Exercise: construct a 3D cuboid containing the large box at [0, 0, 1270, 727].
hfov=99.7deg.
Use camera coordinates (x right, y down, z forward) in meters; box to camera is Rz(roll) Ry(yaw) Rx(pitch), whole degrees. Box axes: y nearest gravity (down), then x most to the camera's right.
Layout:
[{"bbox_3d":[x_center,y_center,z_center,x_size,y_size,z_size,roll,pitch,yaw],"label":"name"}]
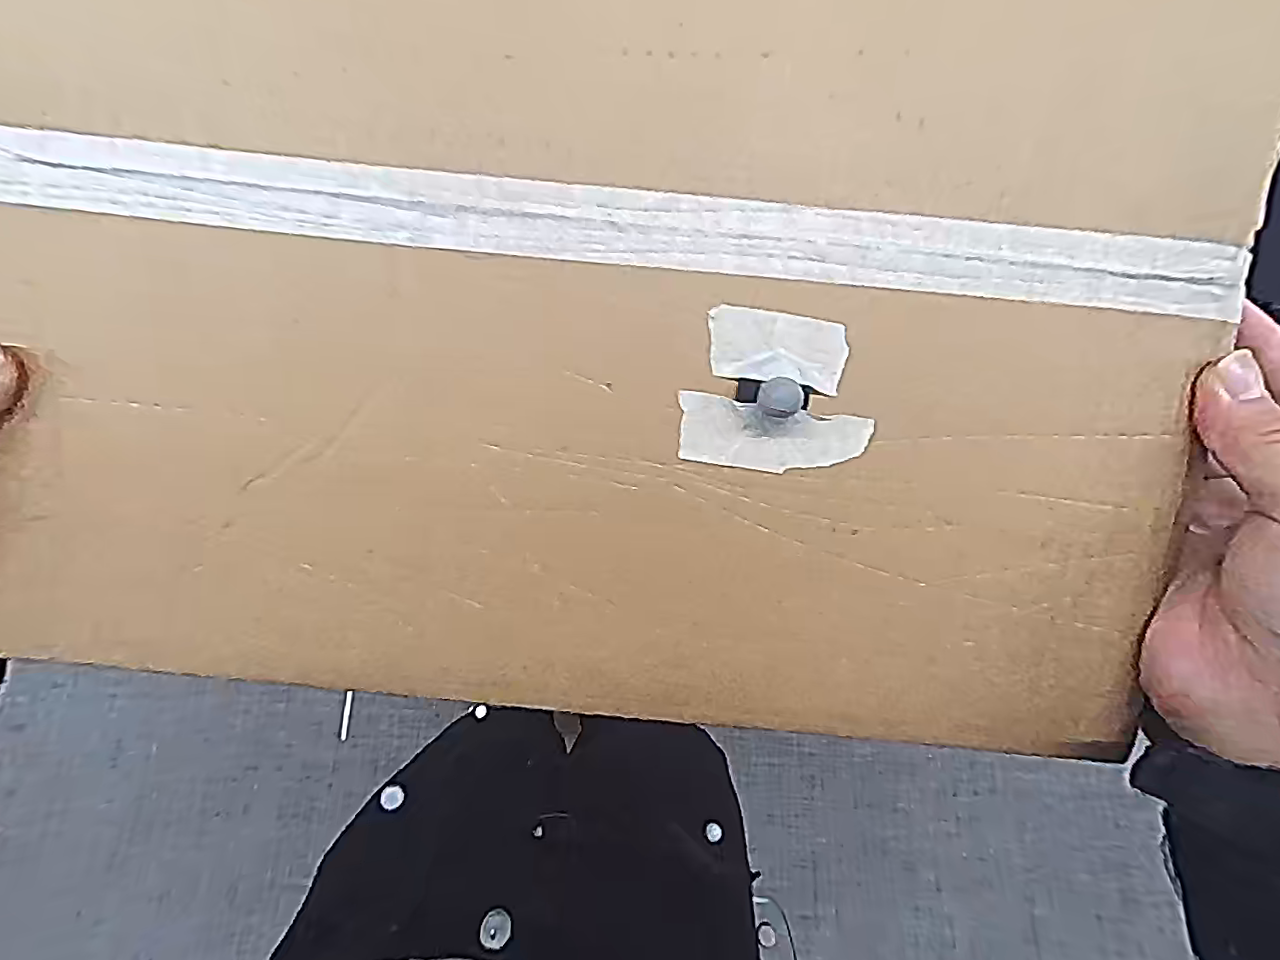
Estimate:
[{"bbox_3d":[-0.017,-0.094,0.322,0.408,0.320,0.320,5,99,-1],"label":"large box"}]
